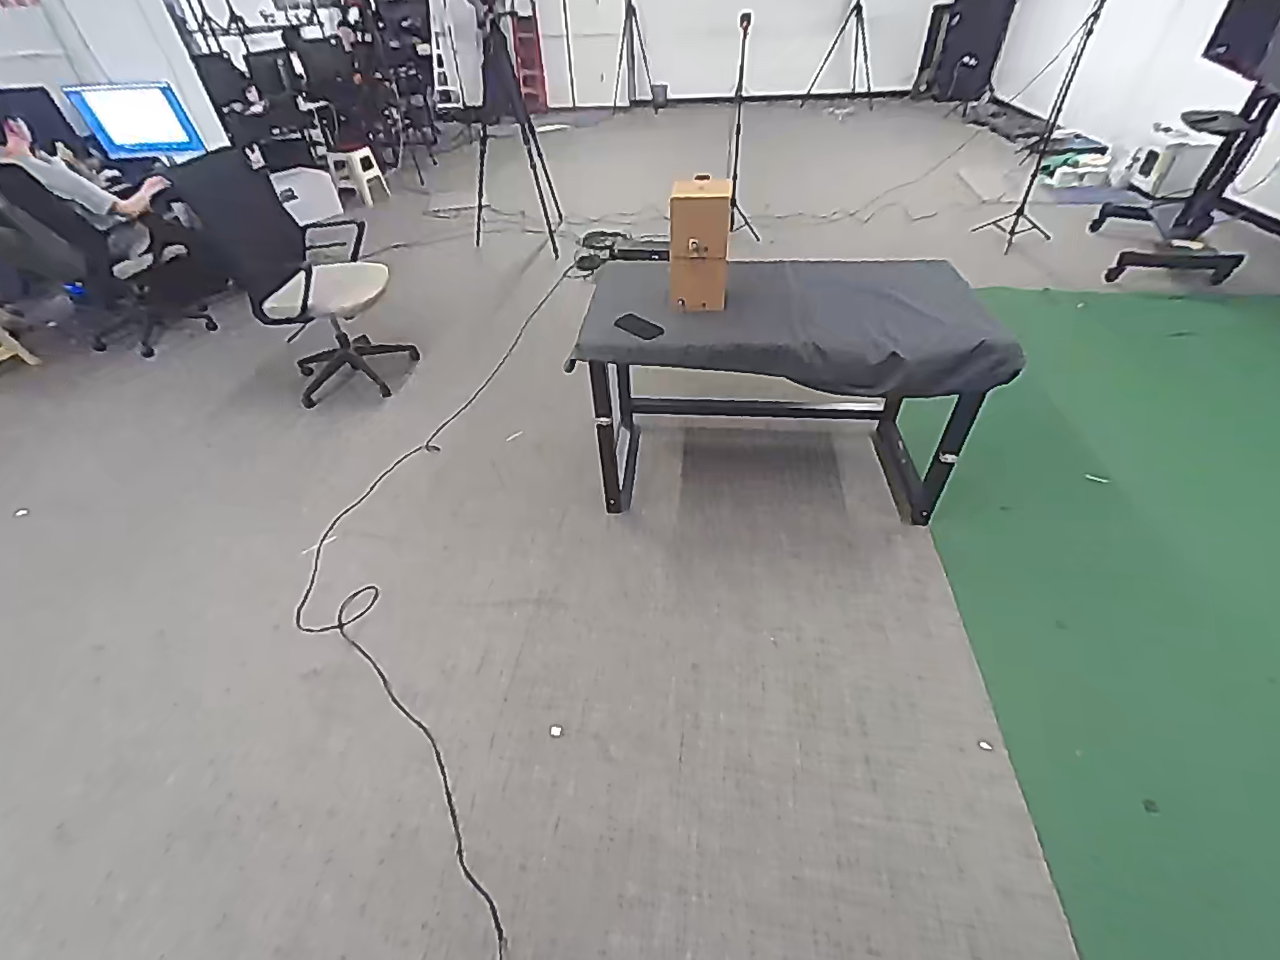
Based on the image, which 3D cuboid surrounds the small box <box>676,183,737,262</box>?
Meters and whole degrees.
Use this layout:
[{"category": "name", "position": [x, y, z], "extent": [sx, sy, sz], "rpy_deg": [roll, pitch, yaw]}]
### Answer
[{"category": "small box", "position": [0.194, -0.754, 1.580], "extent": [0.168, 0.176, 0.179], "rpy_deg": [2, 43, 7]}]

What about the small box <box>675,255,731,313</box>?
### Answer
[{"category": "small box", "position": [0.199, -0.637, 1.693], "extent": [0.168, 0.176, 0.179], "rpy_deg": [4, 42, 7]}]
